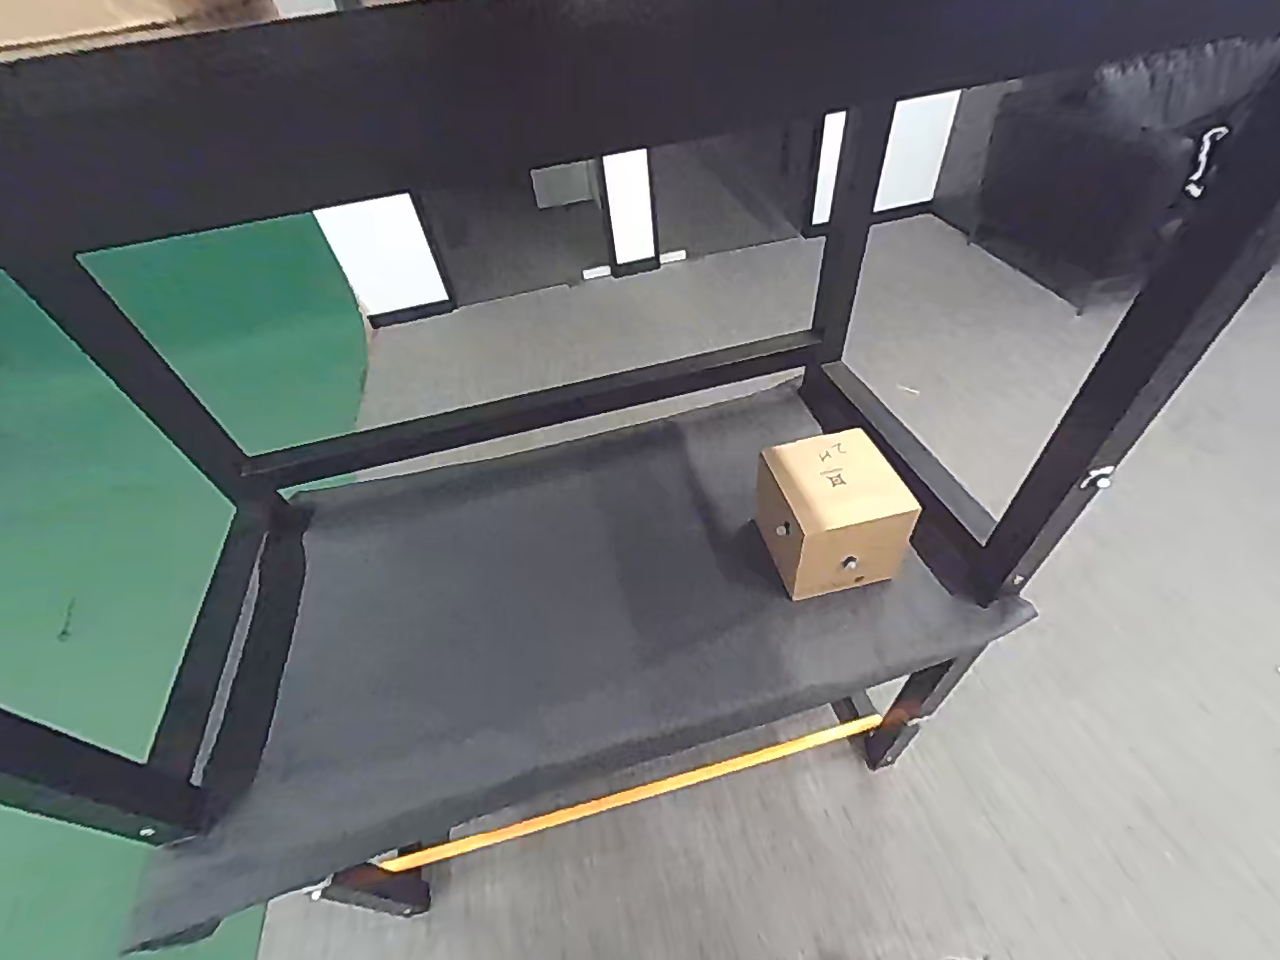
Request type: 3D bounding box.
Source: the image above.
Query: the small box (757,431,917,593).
[{"bbox_3d":[0.287,0.055,0.831,0.168,0.176,0.179,-12,45,-3],"label":"small box"}]
